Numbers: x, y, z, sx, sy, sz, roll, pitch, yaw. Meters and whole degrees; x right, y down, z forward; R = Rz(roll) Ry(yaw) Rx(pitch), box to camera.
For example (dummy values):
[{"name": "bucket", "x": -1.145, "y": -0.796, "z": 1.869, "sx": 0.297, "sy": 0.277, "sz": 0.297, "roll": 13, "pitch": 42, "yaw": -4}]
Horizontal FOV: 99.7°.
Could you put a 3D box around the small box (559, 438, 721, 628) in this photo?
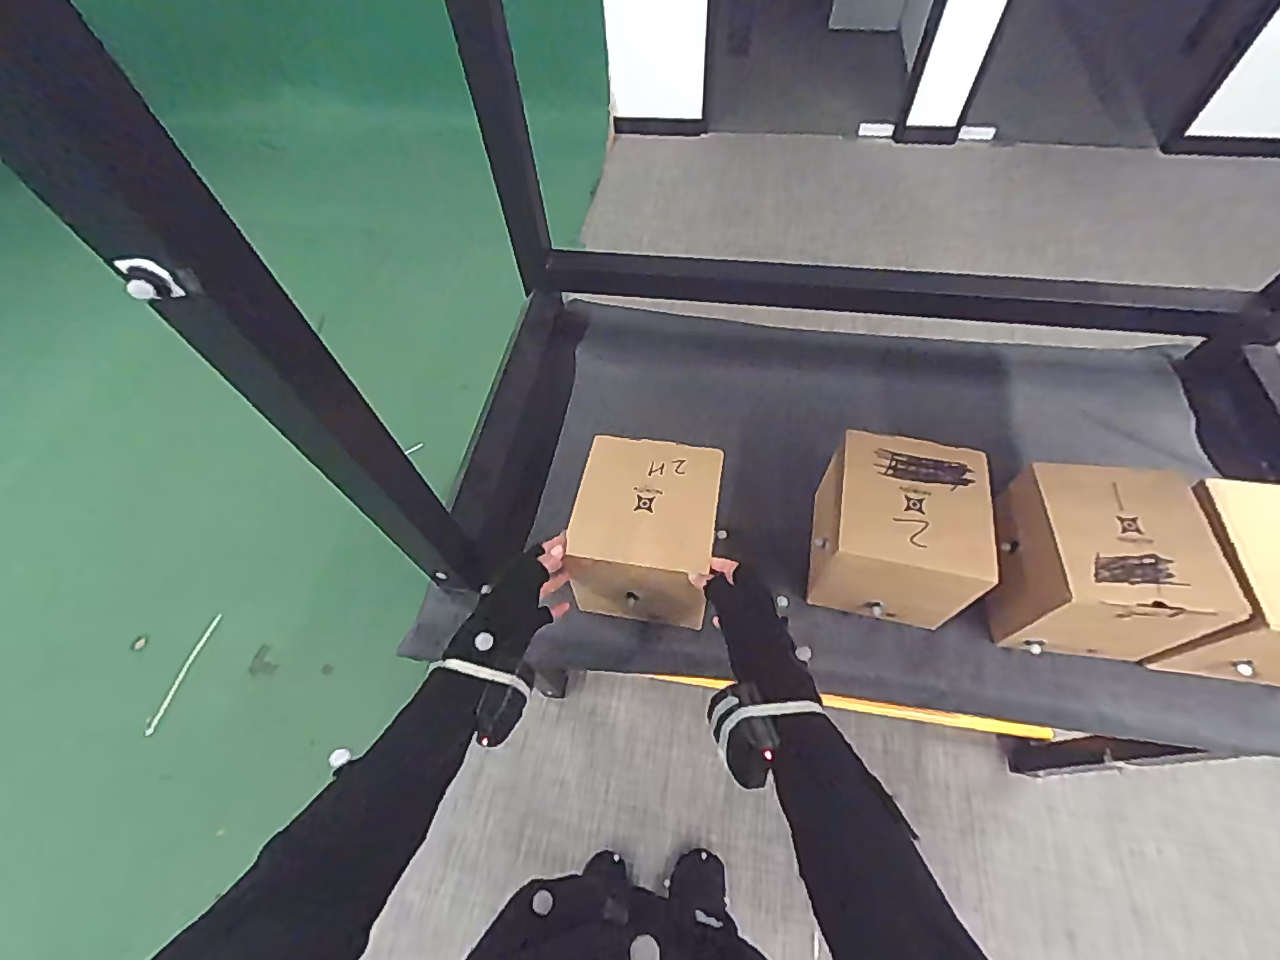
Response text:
[{"name": "small box", "x": 0.008, "y": 0.072, "z": 0.694, "sx": 0.168, "sy": 0.176, "sz": 0.179, "roll": 7, "pitch": 55, "yaw": 7}]
